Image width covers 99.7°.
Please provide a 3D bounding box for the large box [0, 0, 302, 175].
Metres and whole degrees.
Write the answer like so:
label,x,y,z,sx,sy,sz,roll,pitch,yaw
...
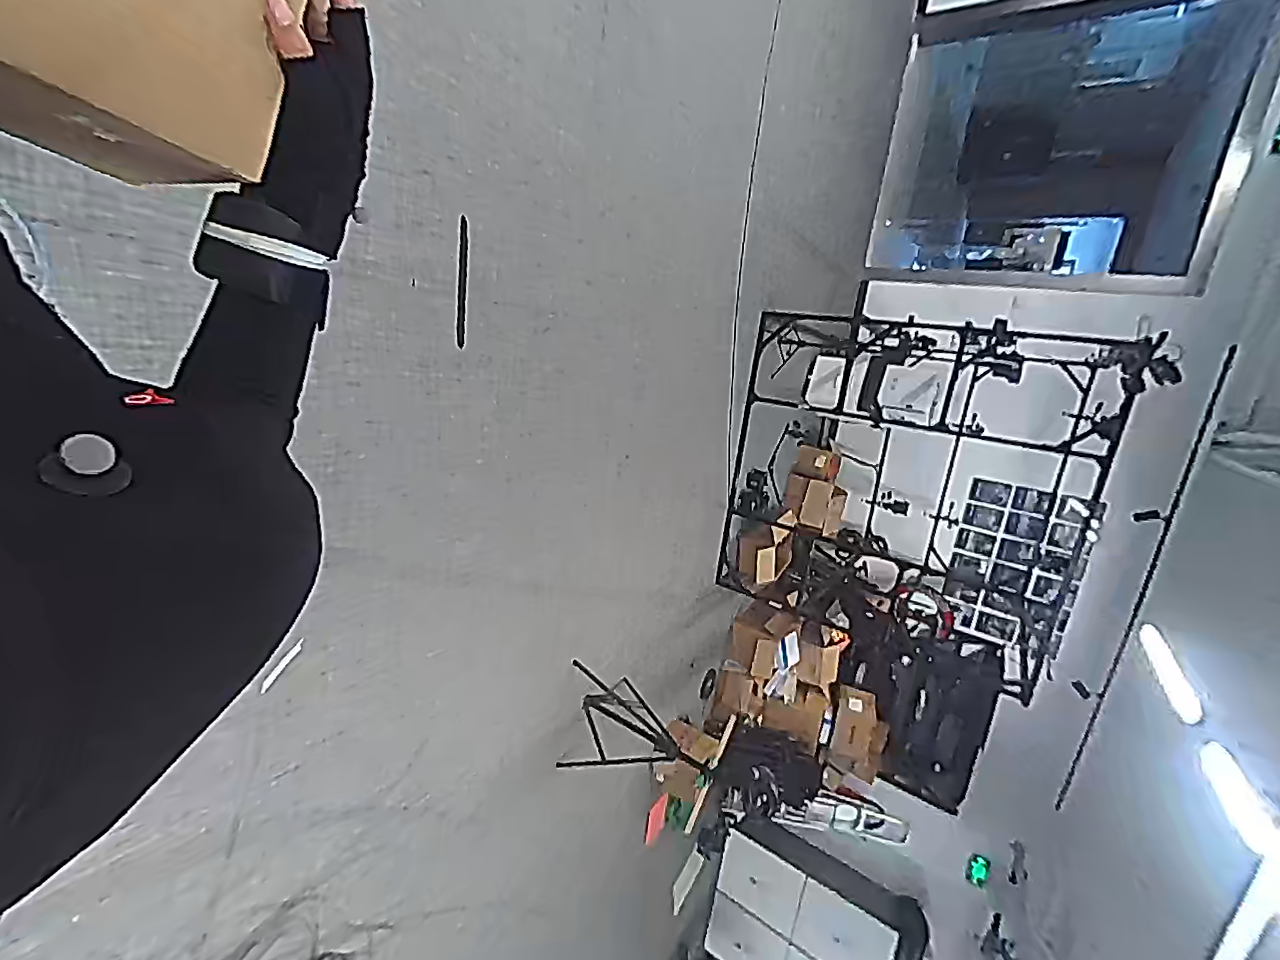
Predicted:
label,x,y,z,sx,sy,sz,roll,pitch,yaw
large box,-0.447,-0.418,0.280,0.408,0.320,0.320,10,100,-57
